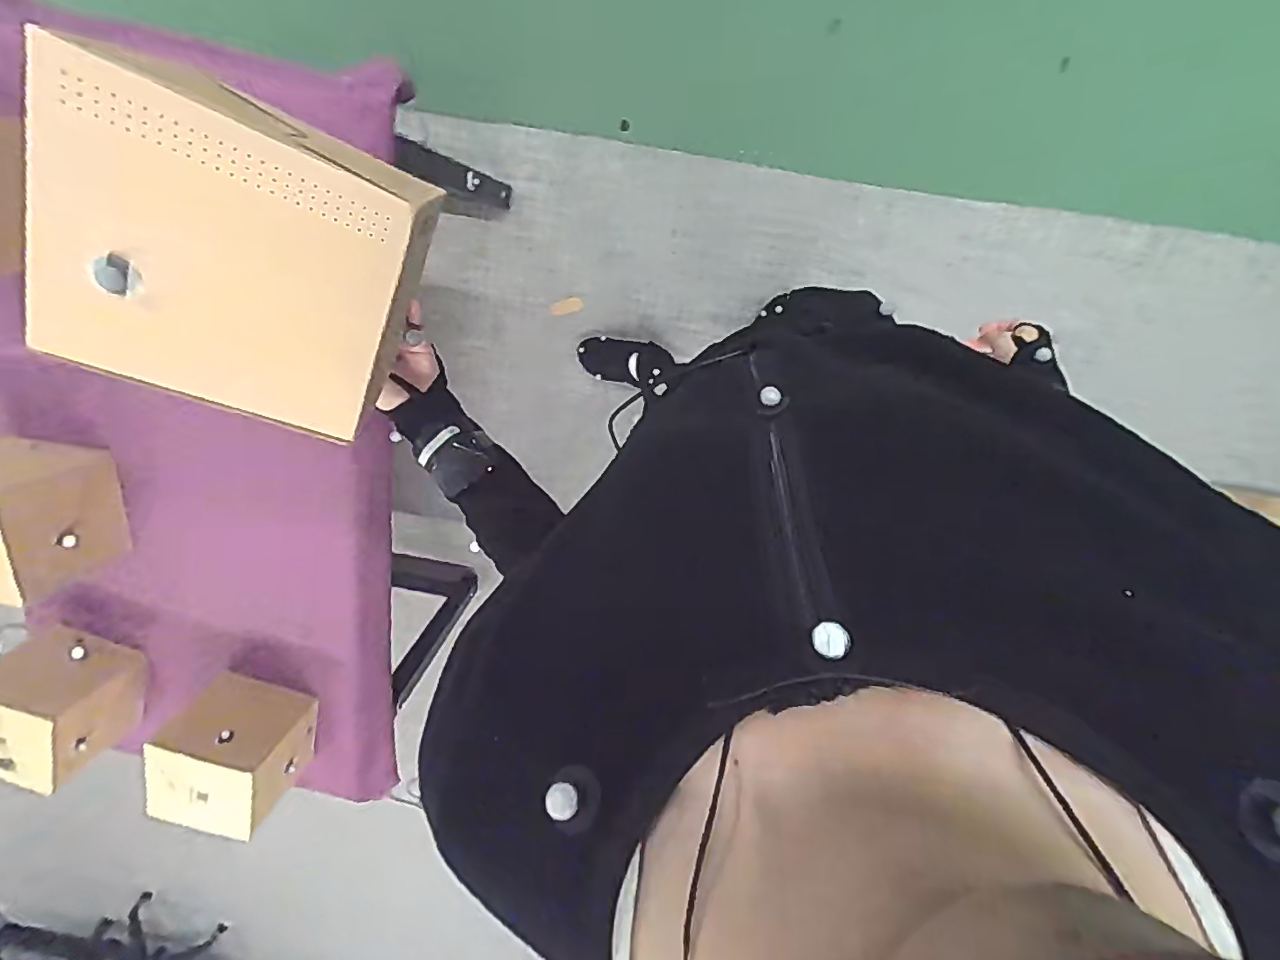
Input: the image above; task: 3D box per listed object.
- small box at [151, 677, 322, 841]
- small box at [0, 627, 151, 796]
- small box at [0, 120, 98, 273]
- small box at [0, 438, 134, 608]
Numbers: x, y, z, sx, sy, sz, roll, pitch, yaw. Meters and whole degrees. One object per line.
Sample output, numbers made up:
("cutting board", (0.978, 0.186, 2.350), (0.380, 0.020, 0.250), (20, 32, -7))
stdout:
("small box", (-0.685, 0.473, 0.935), (0.179, 0.176, 0.168), (18, 111, -2))
("small box", (-0.994, 0.389, 0.928), (0.168, 0.176, 0.179), (21, 110, -5))
("small box", (-0.816, -0.337, 0.633), (0.179, 0.176, 0.168), (5, 113, 1))
("small box", (-0.904, 0.056, 0.793), (0.168, 0.176, 0.179), (9, 113, -1))
